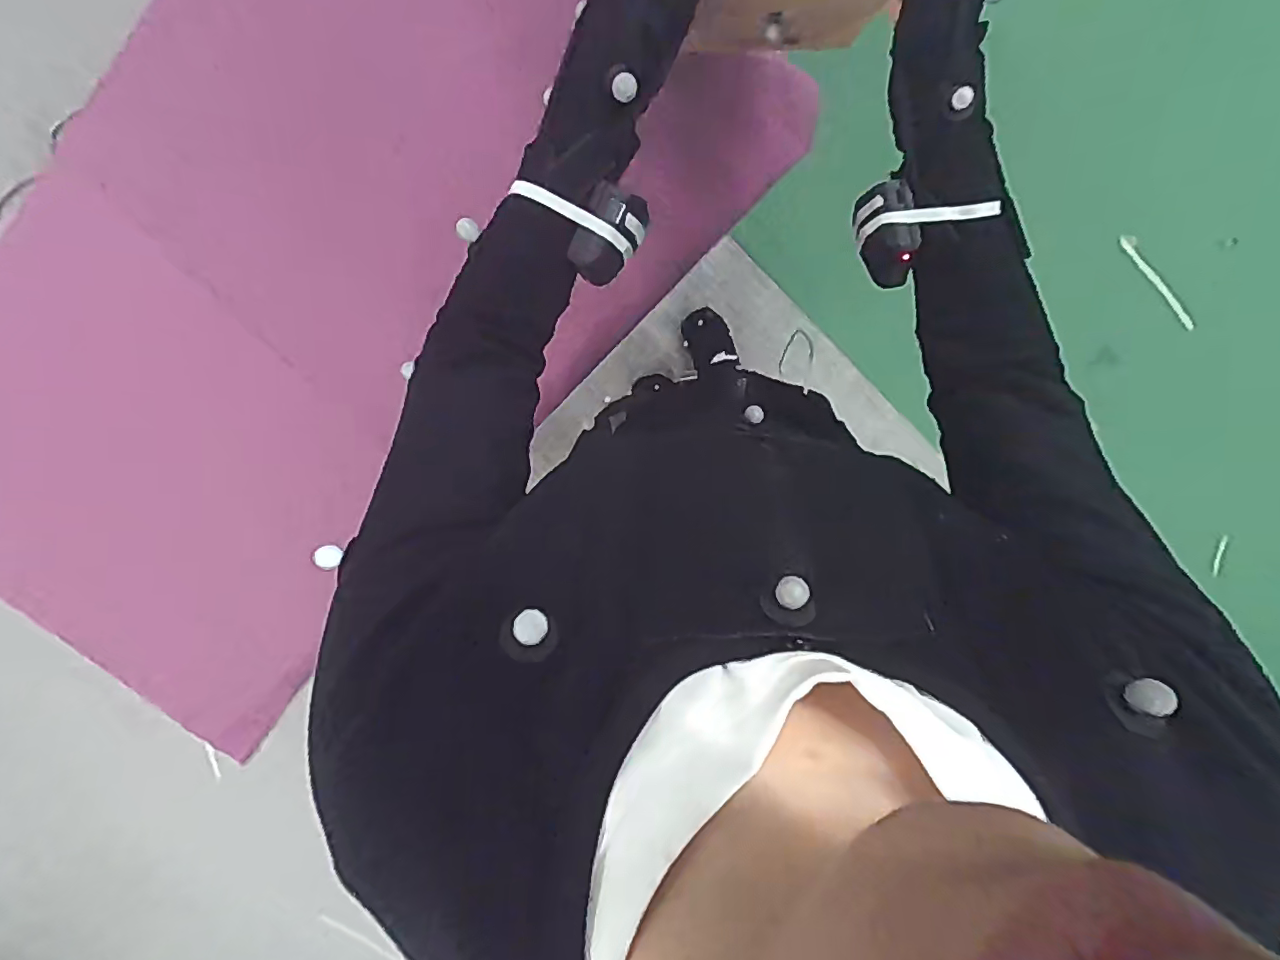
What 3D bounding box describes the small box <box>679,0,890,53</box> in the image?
[{"bbox_3d":[0.119,-0.458,0.397,0.168,0.176,0.179,0,107,-1],"label":"small box"}]
